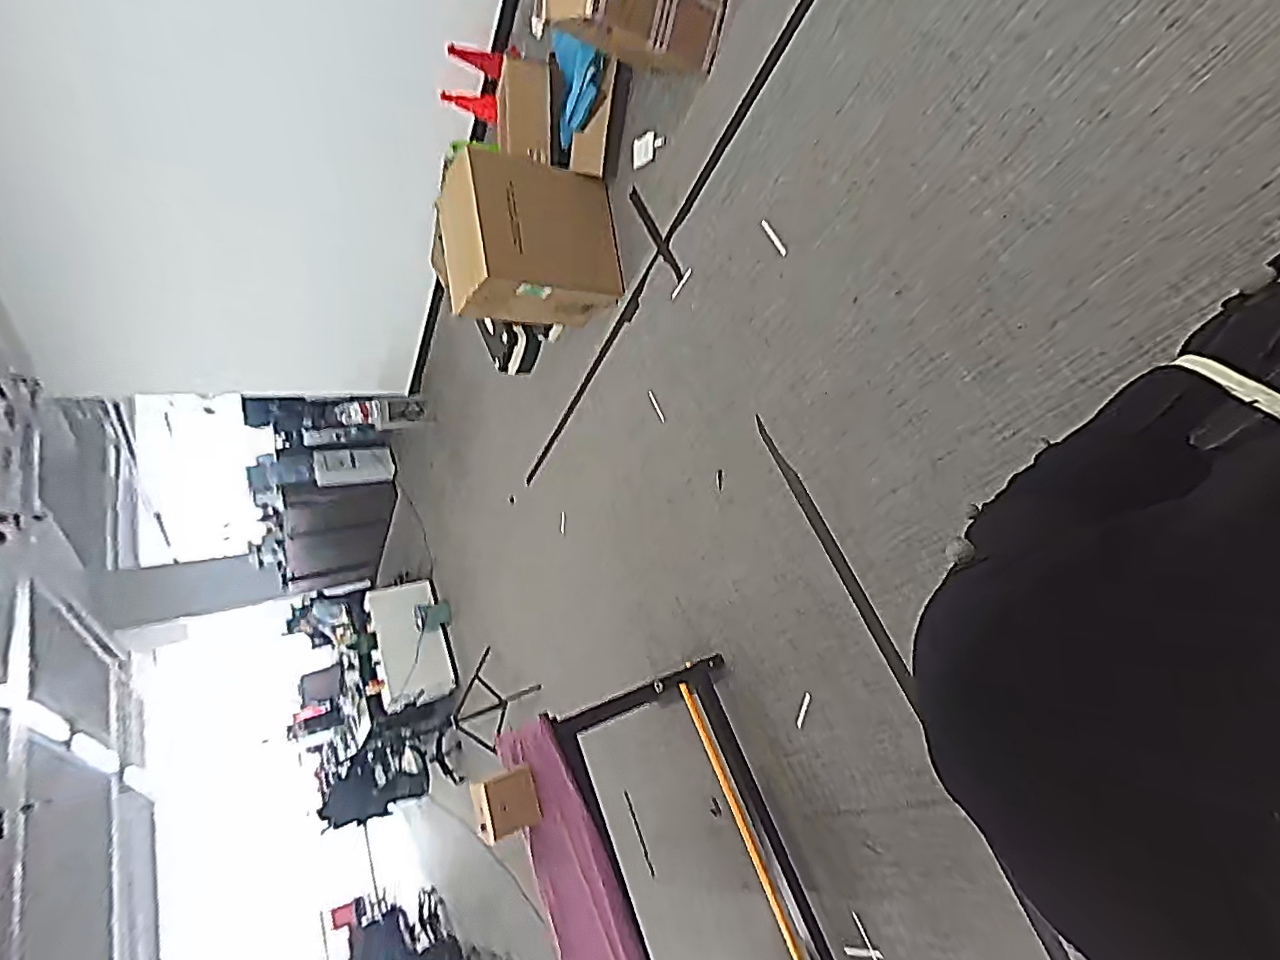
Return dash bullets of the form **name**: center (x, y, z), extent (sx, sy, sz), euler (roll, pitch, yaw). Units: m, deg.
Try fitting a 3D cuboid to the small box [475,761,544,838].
- **small box**: center (-0.445, 1.090, 1.854), extent (0.168, 0.176, 0.179), euler (-40, 63, 48)
